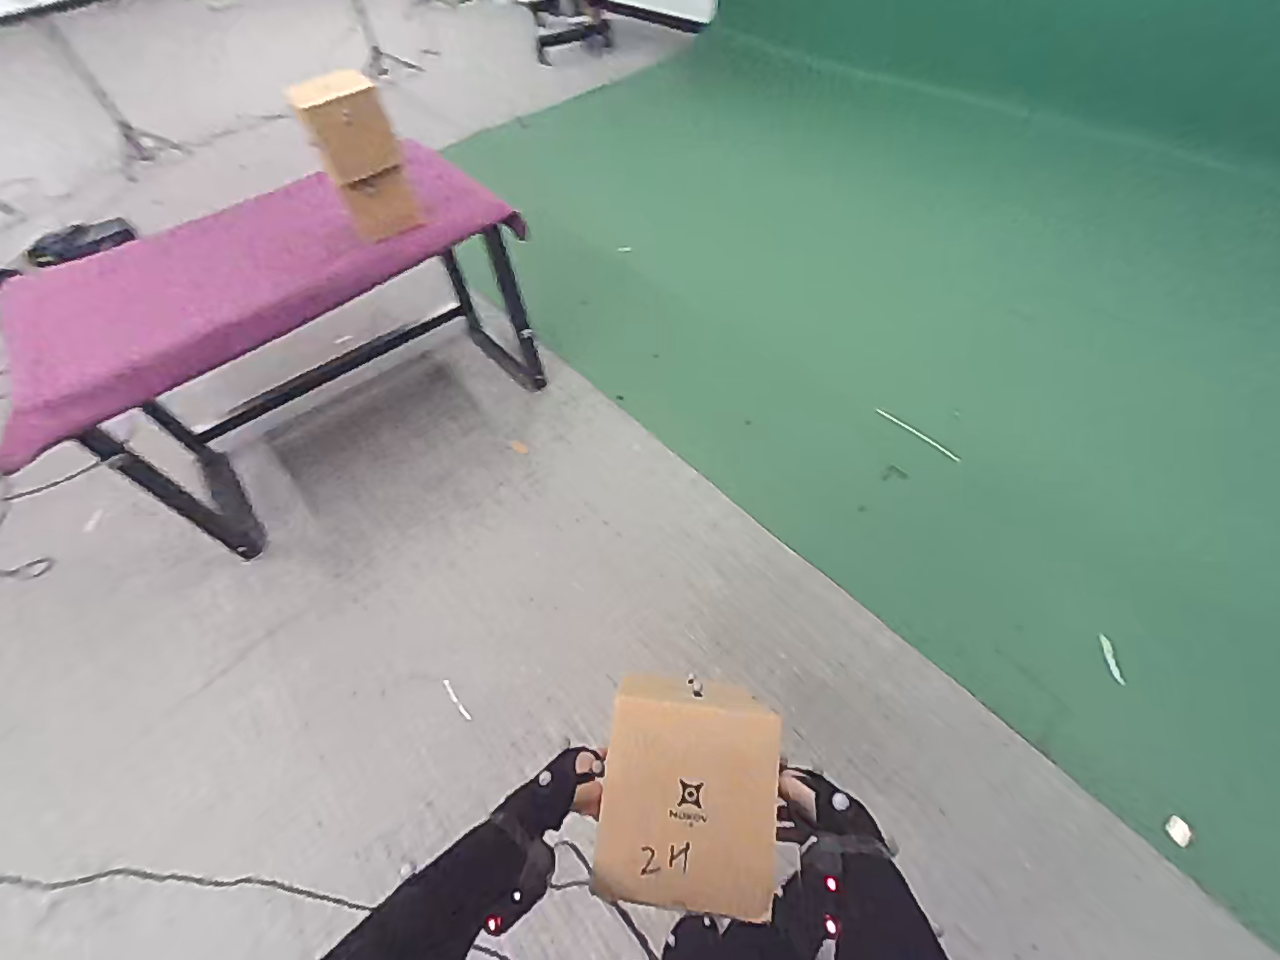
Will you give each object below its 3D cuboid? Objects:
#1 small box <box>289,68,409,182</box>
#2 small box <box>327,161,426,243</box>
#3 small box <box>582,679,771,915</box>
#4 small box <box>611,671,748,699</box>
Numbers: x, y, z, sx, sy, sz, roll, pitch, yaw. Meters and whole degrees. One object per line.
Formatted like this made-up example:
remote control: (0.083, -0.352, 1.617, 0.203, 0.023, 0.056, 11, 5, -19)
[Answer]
small box: (-0.691, -0.847, 1.298, 0.179, 0.176, 0.168, -32, 57, -16)
small box: (-0.695, -0.771, 1.445, 0.179, 0.176, 0.168, -28, 56, -12)
small box: (0.038, 0.317, 0.583, 0.168, 0.176, 0.179, 6, 74, 3)
small box: (0.045, 0.359, 0.743, 0.179, 0.176, 0.168, 5, 74, 2)
